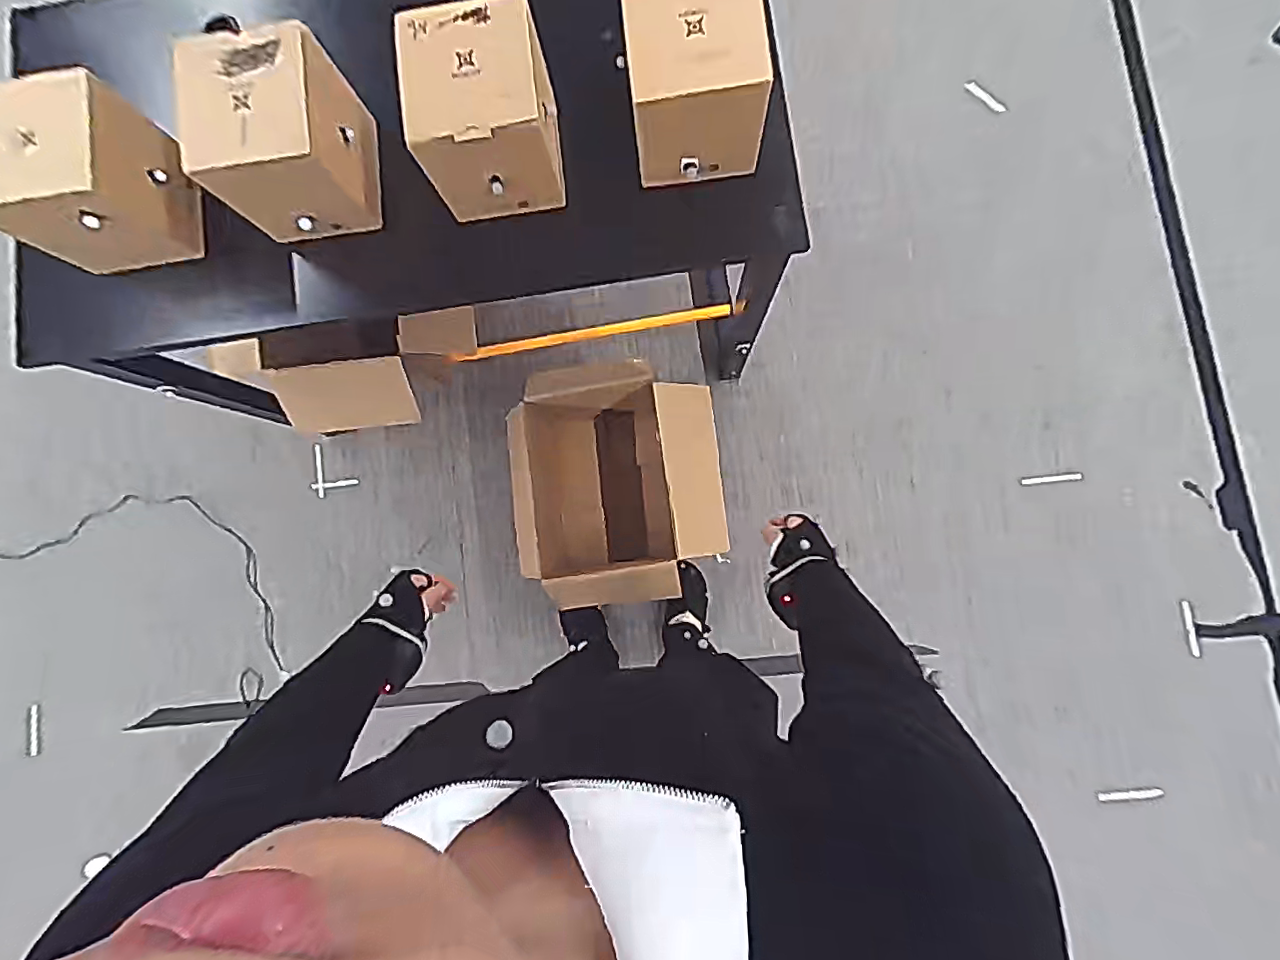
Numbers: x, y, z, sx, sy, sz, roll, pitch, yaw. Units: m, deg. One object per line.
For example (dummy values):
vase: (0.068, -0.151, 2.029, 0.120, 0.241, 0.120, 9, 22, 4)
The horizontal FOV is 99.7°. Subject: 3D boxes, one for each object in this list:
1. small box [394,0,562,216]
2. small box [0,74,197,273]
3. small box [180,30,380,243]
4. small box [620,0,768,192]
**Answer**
small box: (-0.208, -0.485, 0.735, 0.168, 0.176, 0.179, -7, 84, 3)
small box: (-0.764, -0.414, 0.756, 0.179, 0.176, 0.168, -8, 84, 2)
small box: (-0.483, -0.460, 0.747, 0.168, 0.176, 0.179, -7, 84, 3)
small box: (0.066, -0.526, 0.724, 0.168, 0.176, 0.179, -7, 84, 4)
